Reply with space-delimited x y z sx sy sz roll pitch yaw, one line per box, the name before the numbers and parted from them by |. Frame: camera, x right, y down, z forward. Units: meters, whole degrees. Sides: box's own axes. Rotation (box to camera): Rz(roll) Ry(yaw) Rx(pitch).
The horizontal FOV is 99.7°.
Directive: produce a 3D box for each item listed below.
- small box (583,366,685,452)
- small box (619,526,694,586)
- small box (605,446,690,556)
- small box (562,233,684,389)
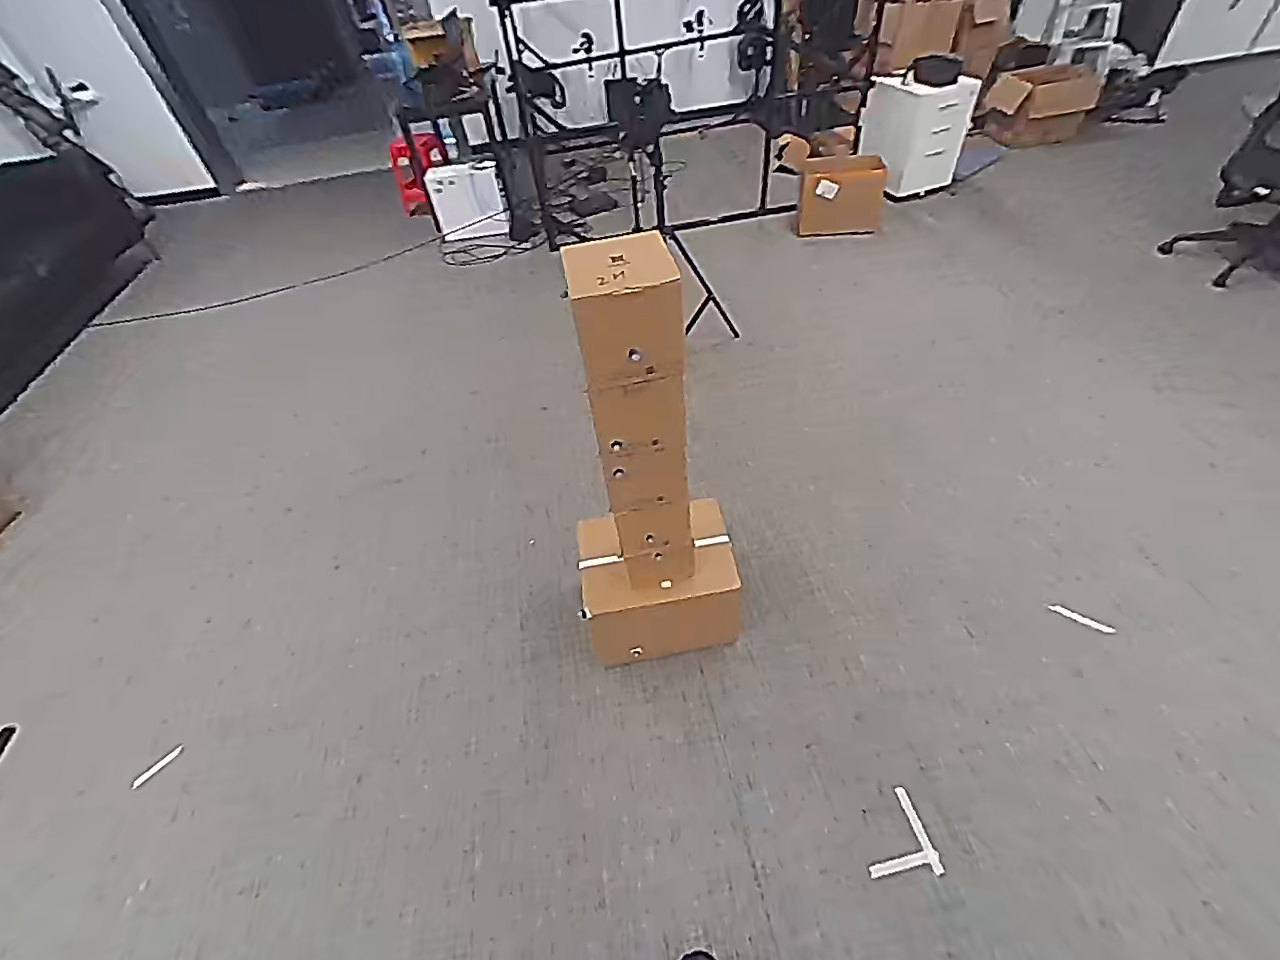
small box | -0.012 -0.167 1.012 0.168 0.176 0.179 -9 47 -1
small box | 0.037 0.152 1.381 0.179 0.176 0.168 -11 48 -4
small box | 0.018 0.050 1.257 0.168 0.176 0.179 -11 48 -3
small box | -0.027 -0.276 0.889 0.168 0.176 0.179 -12 49 -3
